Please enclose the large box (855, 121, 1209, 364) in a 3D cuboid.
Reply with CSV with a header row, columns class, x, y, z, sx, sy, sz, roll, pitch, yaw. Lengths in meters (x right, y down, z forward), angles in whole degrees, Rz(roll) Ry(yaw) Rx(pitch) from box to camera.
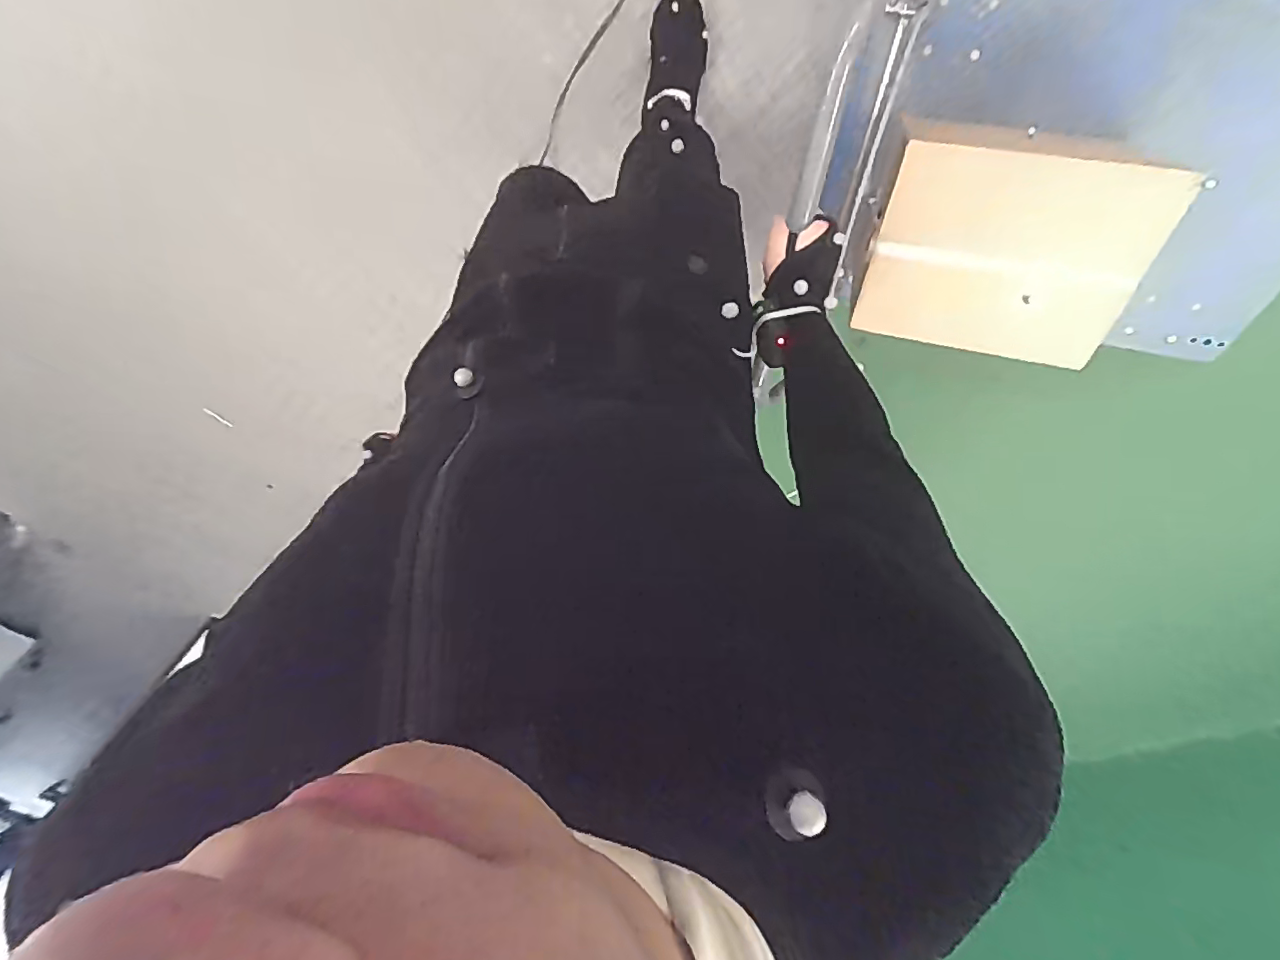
class,x,y,z,sx,sy,sz,roll,pitch,yaw
large box,0.648,-0.454,1.005,0.408,0.320,0.320,15,132,10
